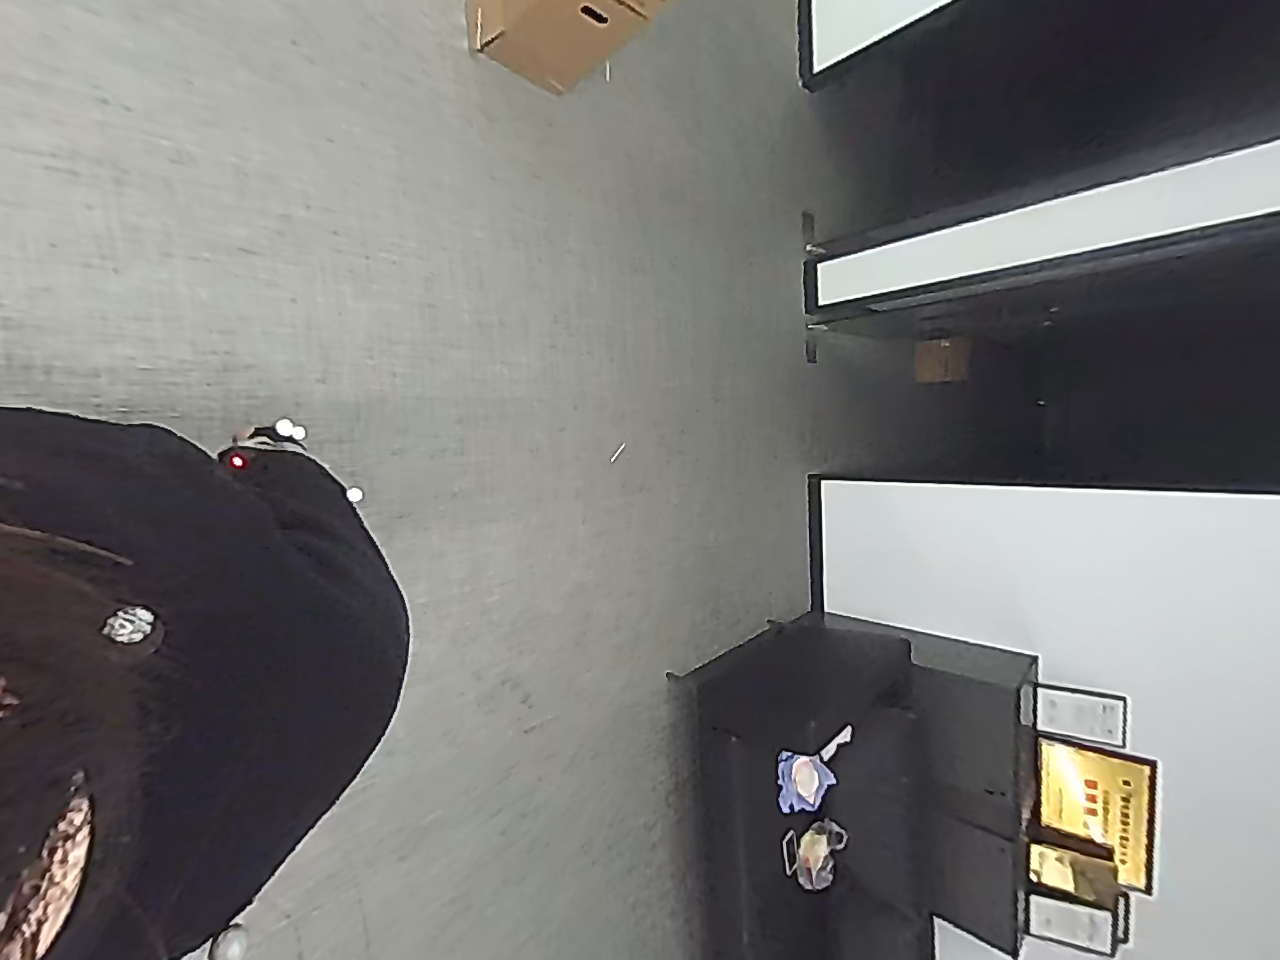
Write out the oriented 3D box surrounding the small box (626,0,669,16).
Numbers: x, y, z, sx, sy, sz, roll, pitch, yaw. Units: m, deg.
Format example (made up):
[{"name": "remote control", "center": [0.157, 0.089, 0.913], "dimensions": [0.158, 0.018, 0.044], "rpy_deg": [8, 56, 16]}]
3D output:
[{"name": "small box", "center": [0.019, -1.335, 1.362], "dimensions": [0.168, 0.176, 0.179], "rpy_deg": [-11, 98, -46]}]
